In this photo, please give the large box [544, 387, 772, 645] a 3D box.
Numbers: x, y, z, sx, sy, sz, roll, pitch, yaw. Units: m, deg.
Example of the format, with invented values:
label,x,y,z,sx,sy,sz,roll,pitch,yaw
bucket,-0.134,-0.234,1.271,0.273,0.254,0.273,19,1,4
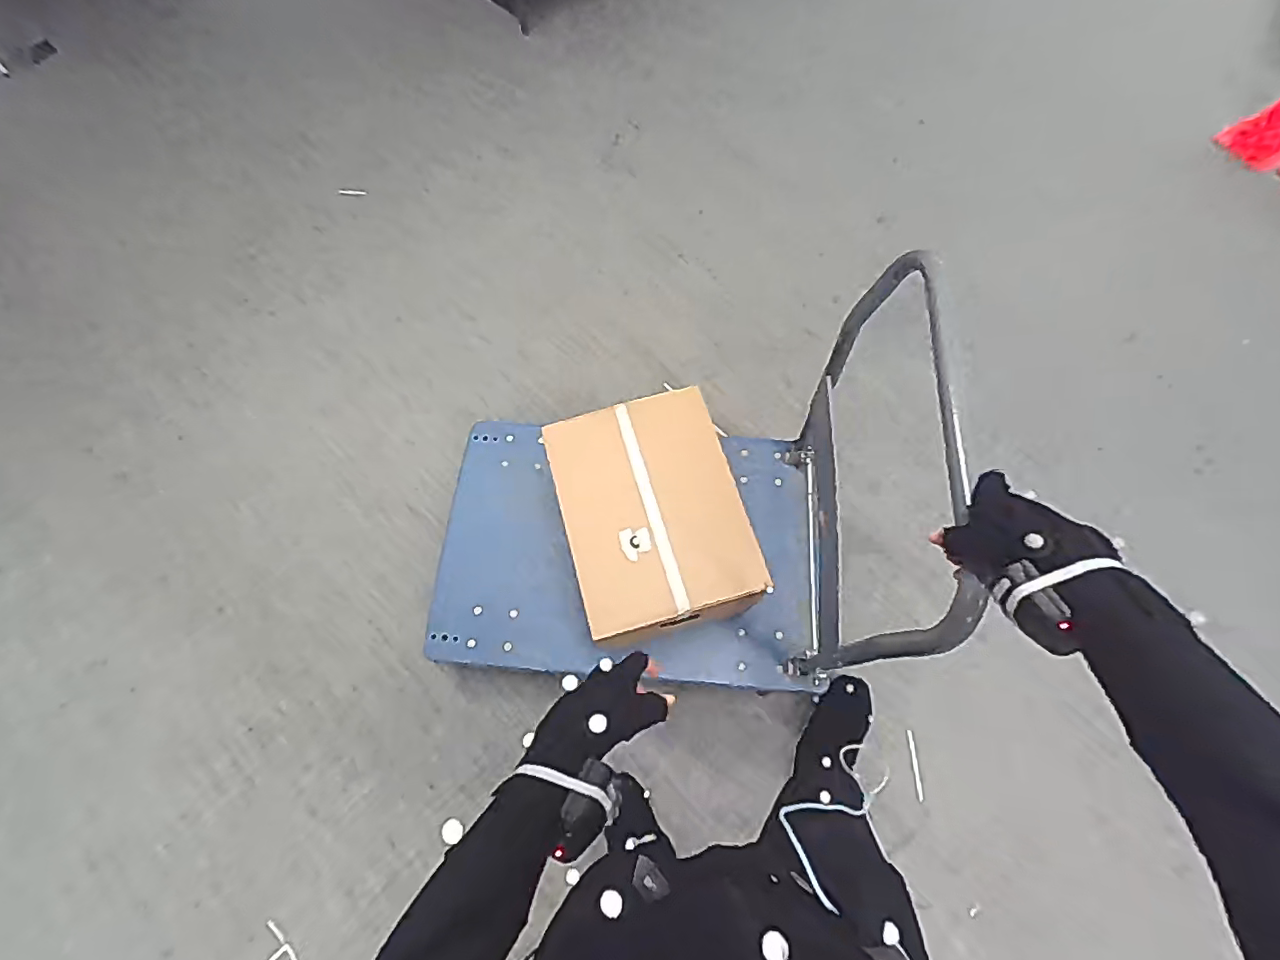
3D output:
label,x,y,z,sx,sy,sz,roll,pitch,yaw
large box,0.022,0.087,1.100,0.320,0.320,0.408,-16,70,-4
